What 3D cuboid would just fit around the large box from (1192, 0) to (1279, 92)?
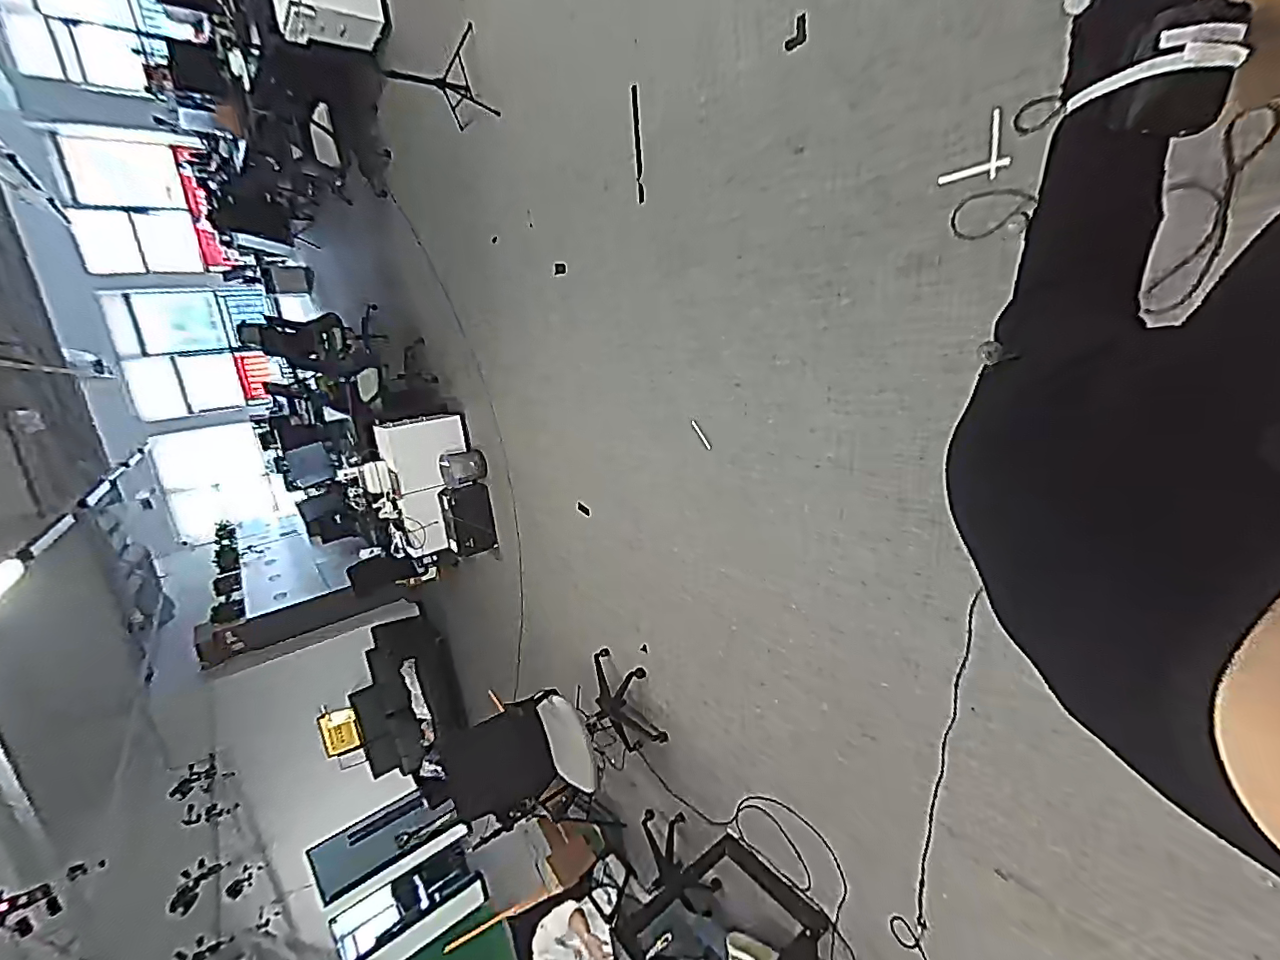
[{"bbox_3d":[0.589,-0.458,0.261,0.408,0.320,0.320,14,118,49],"label":"large box"}]
